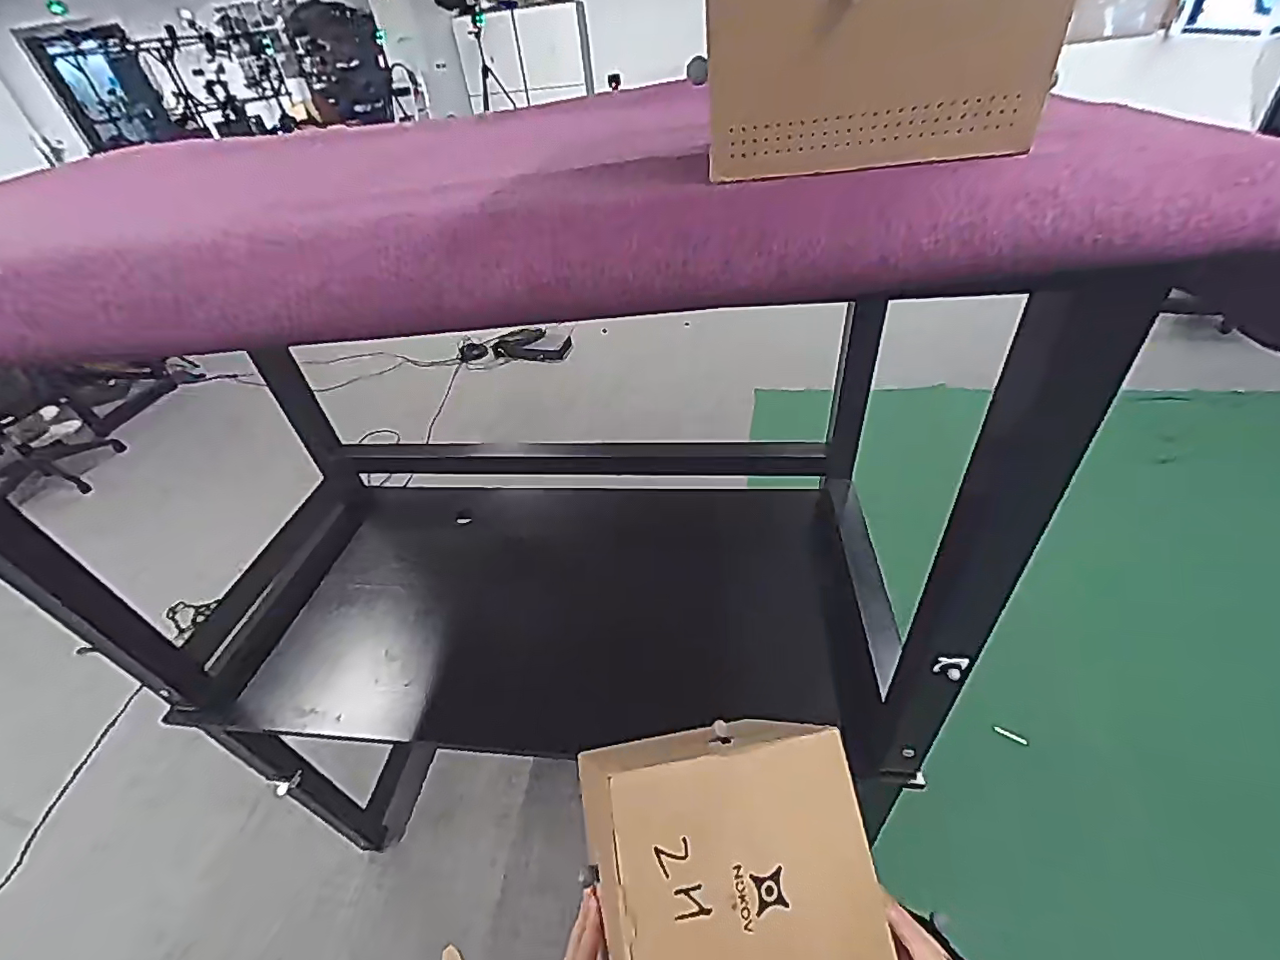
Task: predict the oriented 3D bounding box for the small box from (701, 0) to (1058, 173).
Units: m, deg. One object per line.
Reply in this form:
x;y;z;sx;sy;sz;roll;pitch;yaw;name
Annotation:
0.128;-0.296;0.315;0.179;0.176;0.168;0;40;11;small box
